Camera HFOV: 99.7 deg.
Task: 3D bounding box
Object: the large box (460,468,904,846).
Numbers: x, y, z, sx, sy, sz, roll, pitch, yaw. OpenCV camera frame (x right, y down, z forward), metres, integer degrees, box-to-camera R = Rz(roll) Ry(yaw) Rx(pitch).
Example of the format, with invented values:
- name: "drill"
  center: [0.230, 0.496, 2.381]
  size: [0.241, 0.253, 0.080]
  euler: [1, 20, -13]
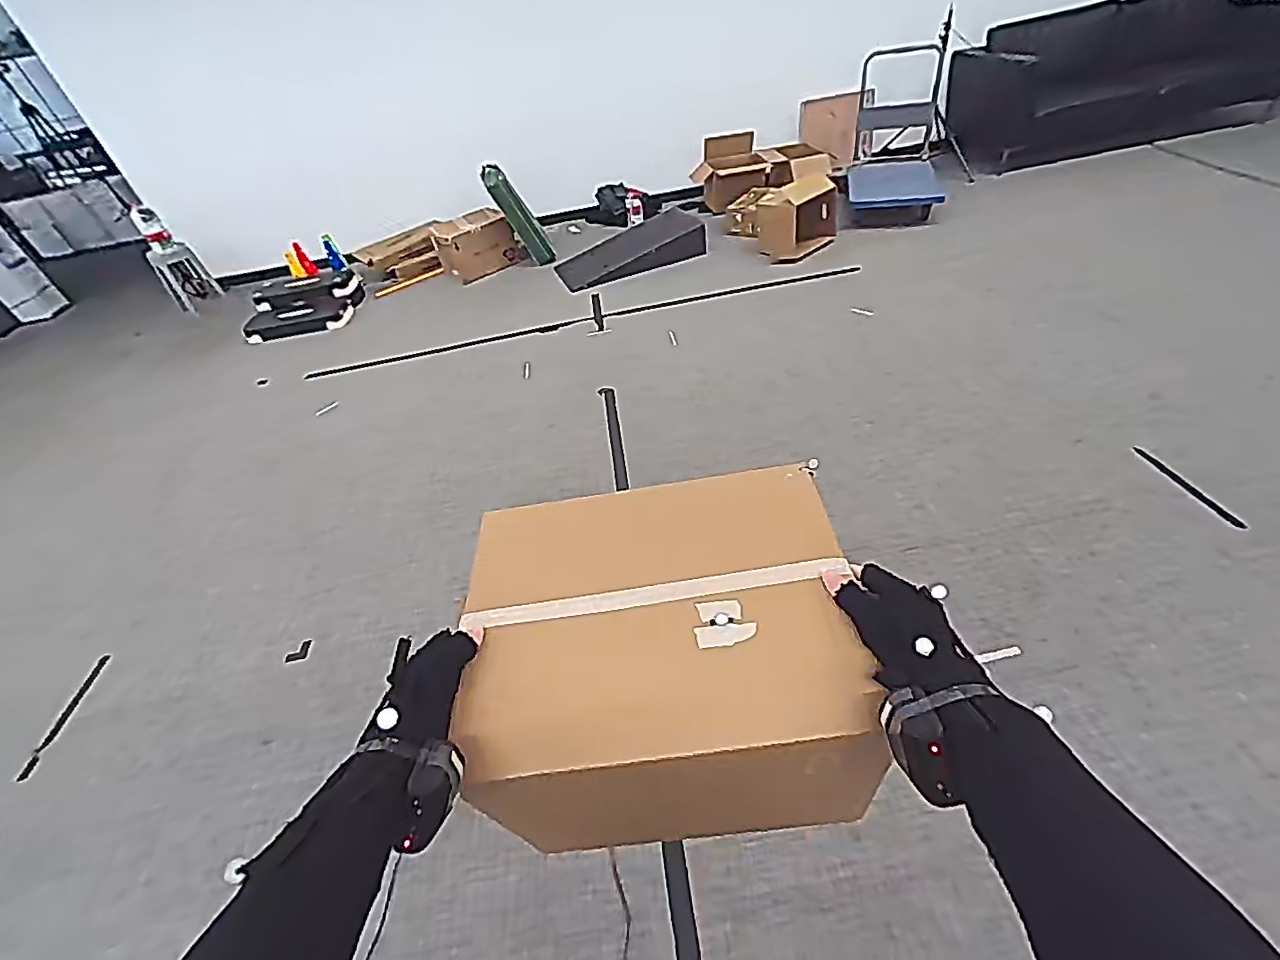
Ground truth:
- name: "large box"
  center: [0.041, 0.226, 0.679]
  size: [0.408, 0.320, 0.320]
  euler: [-9, 46, 3]
